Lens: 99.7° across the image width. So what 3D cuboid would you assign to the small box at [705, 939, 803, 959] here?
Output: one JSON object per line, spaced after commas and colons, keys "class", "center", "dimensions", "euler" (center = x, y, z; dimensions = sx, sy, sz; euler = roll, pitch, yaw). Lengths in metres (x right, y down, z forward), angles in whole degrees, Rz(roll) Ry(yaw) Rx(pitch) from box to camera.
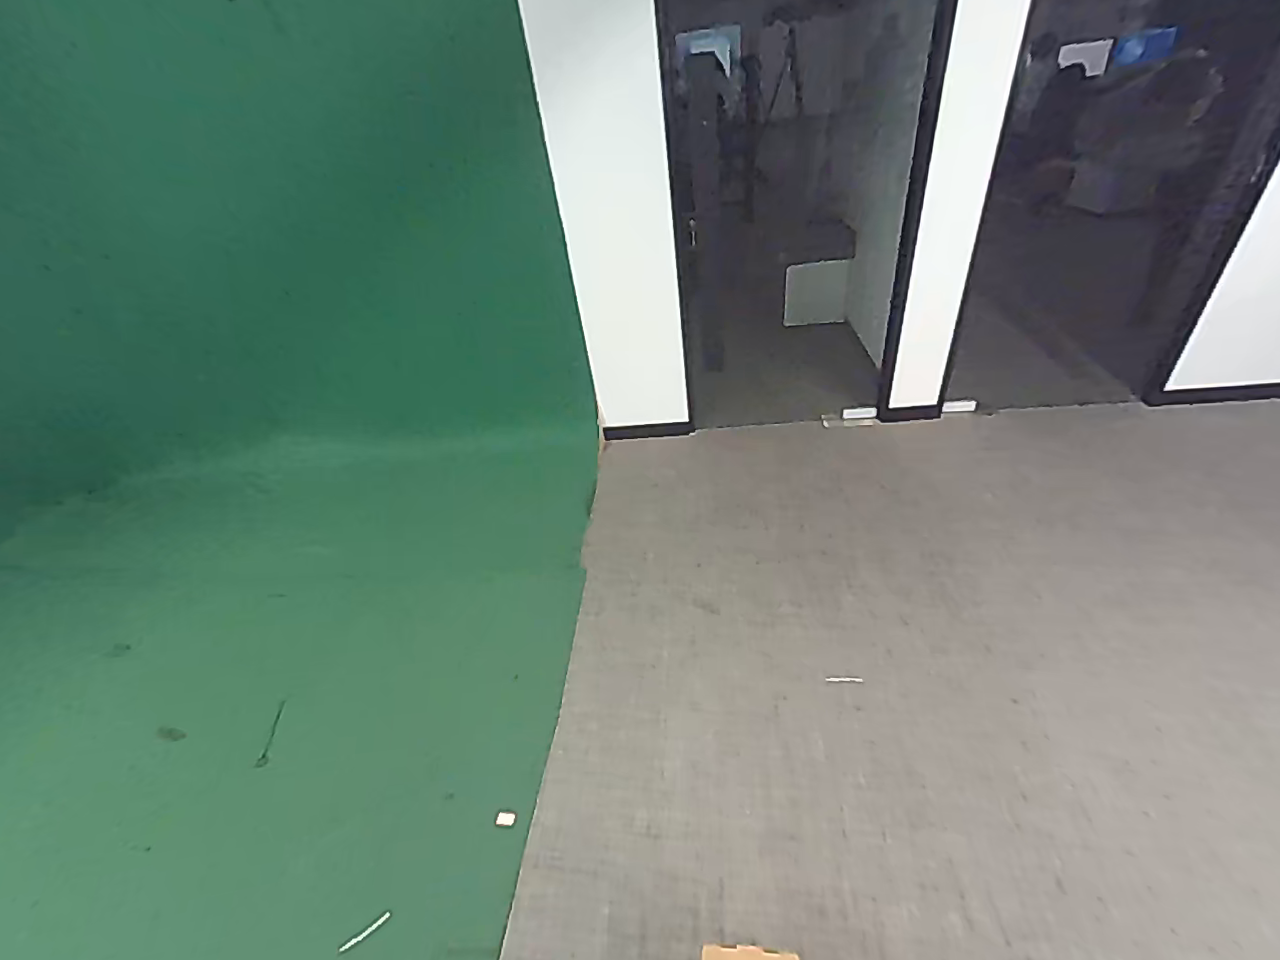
{"class": "small box", "center": [0.193, 0.907, 0.901], "dimensions": [0.168, 0.176, 0.179], "euler": [-3, 38, 10]}
